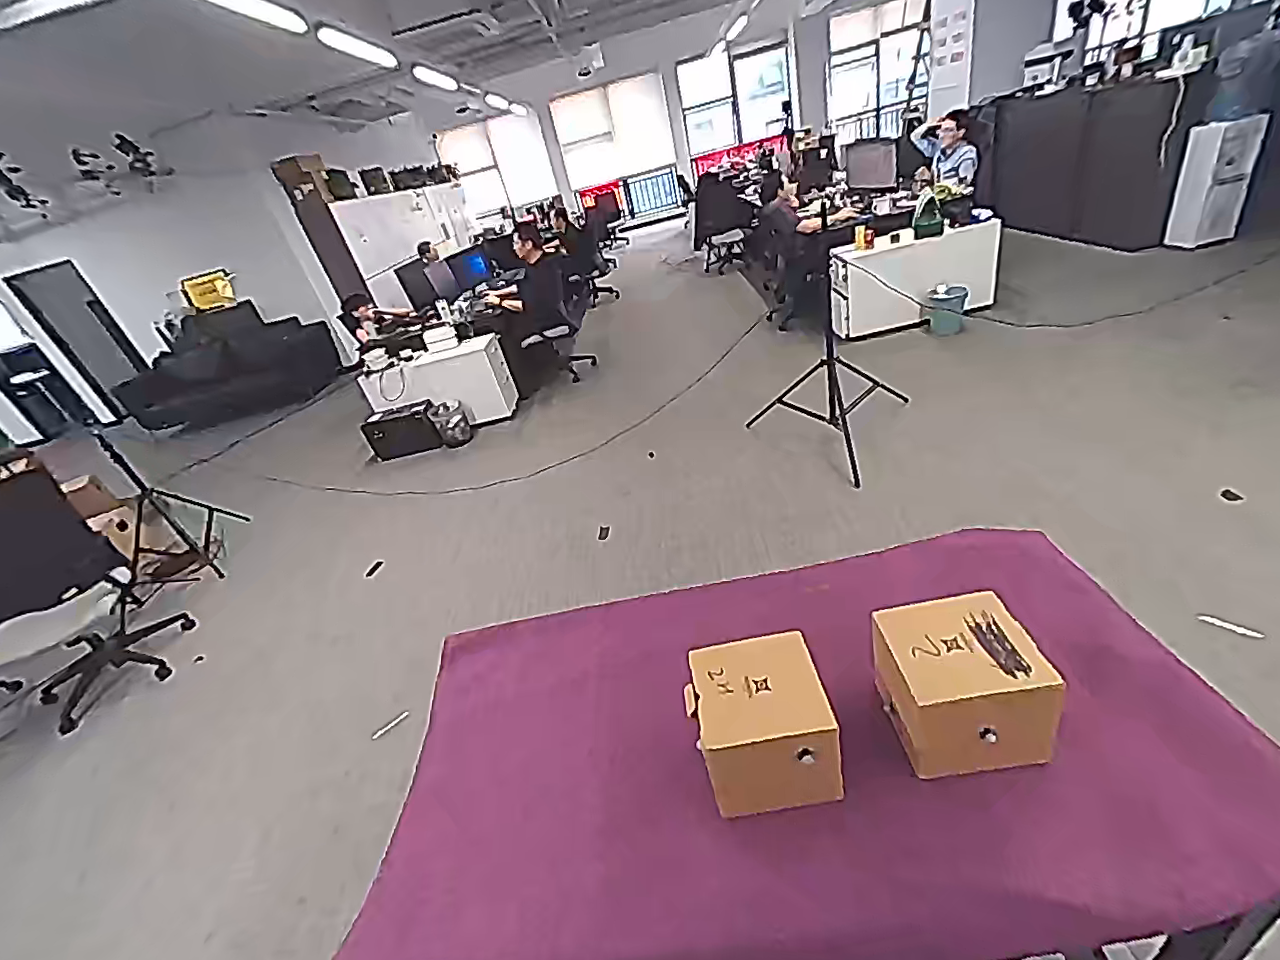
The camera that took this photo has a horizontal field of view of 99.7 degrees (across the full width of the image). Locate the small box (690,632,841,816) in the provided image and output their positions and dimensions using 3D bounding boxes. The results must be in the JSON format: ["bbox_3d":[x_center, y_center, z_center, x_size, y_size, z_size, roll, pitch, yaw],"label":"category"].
[{"bbox_3d":[0.181,0.355,0.790,0.179,0.176,0.168,-13,30,5],"label":"small box"}]
